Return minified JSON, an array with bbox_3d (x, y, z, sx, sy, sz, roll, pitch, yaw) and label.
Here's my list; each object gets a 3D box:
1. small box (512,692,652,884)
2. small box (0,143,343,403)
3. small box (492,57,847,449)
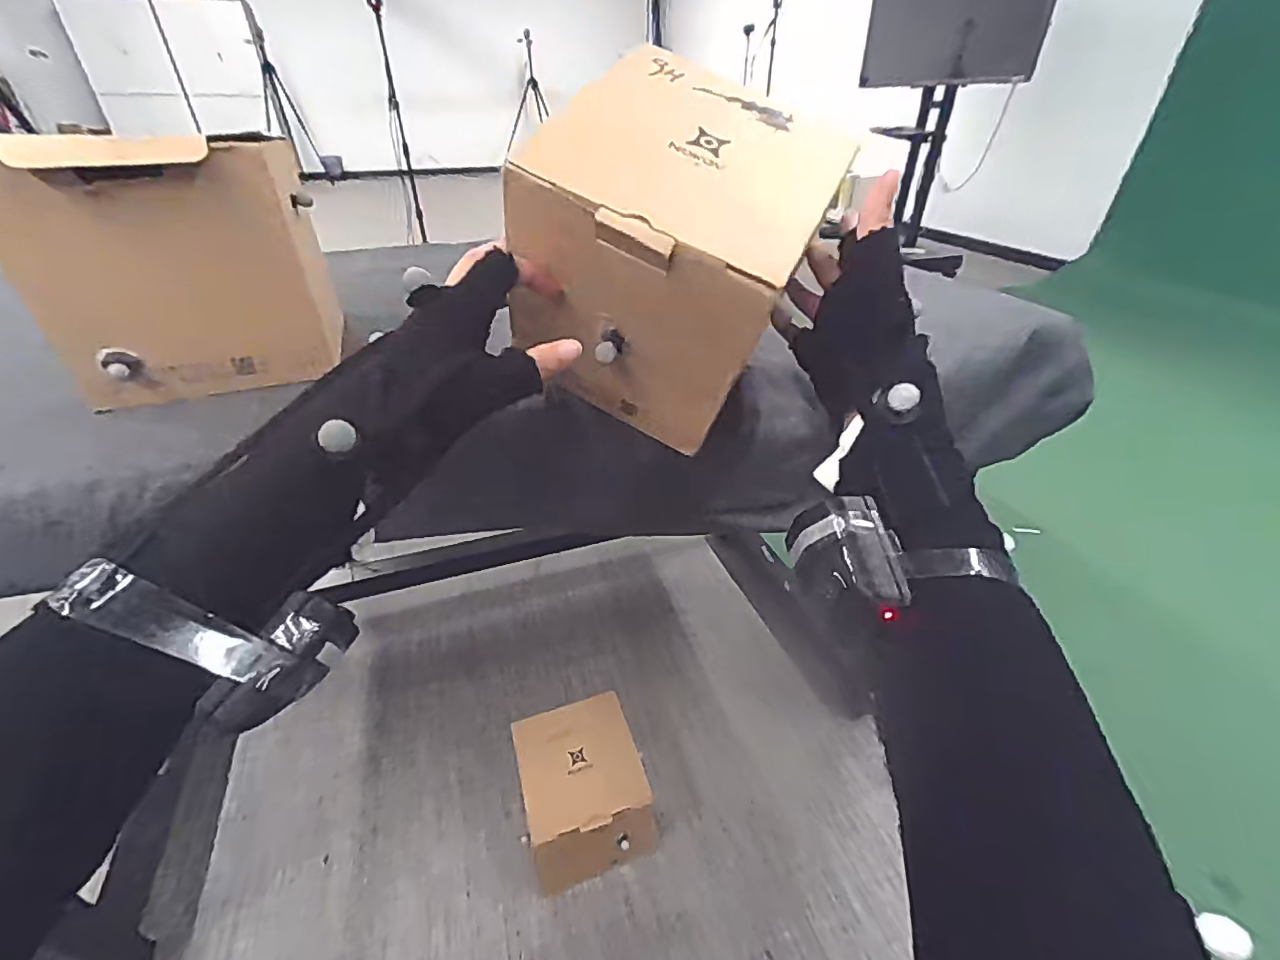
[{"bbox_3d":[-0.086,0.462,0.809,0.168,0.176,0.179,-12,35,-17],"label":"small box"},{"bbox_3d":[-0.359,-0.172,0.443,0.168,0.176,0.179,-14,35,-19],"label":"small box"},{"bbox_3d":[0.017,-0.154,0.395,0.168,0.176,0.179,28,61,5],"label":"small box"}]
